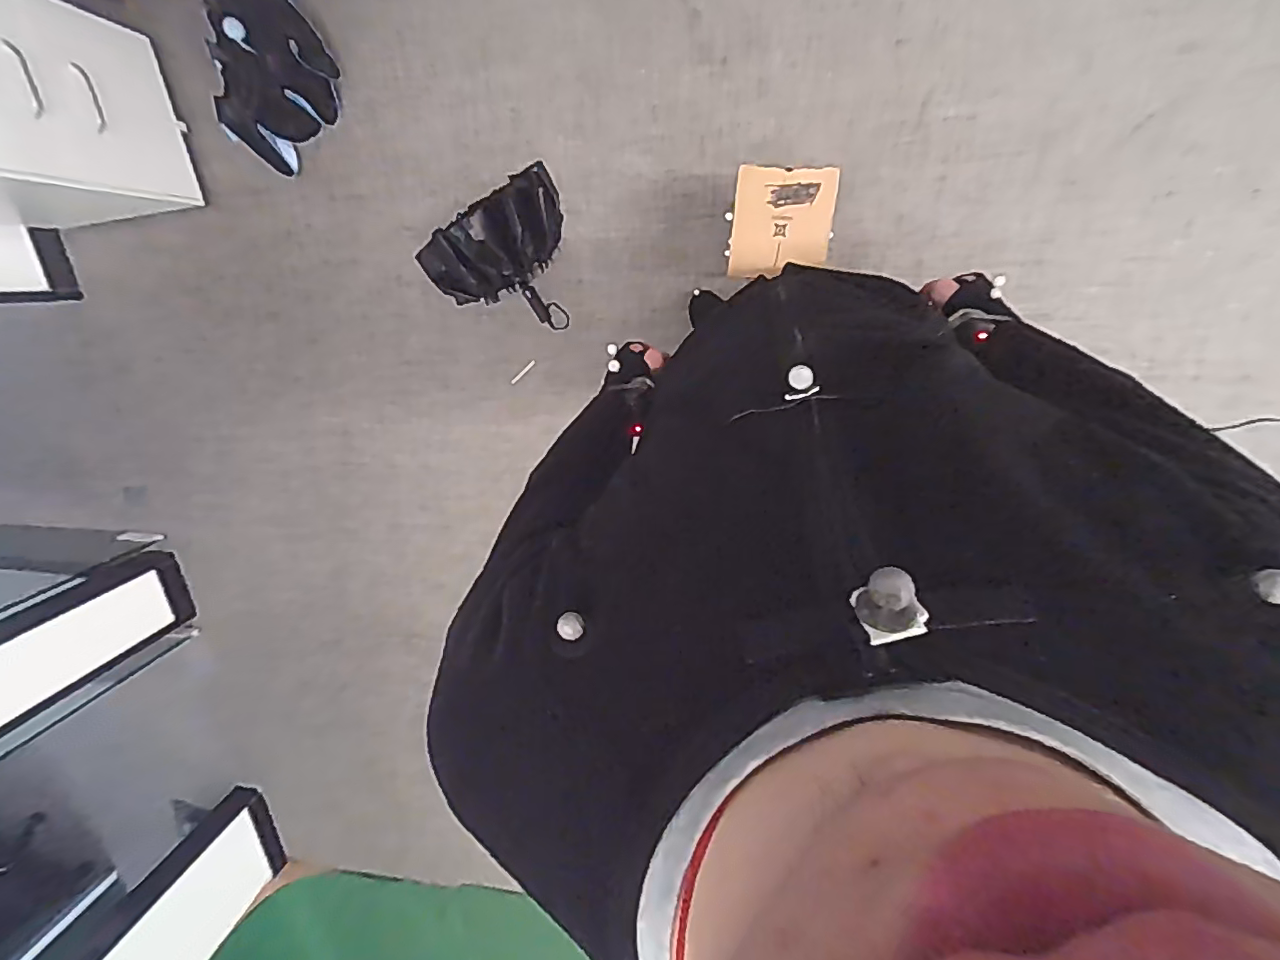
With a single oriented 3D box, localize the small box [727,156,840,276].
[{"bbox_3d":[0.250,-0.471,0.985,0.168,0.176,0.179,7,112,7],"label":"small box"}]
